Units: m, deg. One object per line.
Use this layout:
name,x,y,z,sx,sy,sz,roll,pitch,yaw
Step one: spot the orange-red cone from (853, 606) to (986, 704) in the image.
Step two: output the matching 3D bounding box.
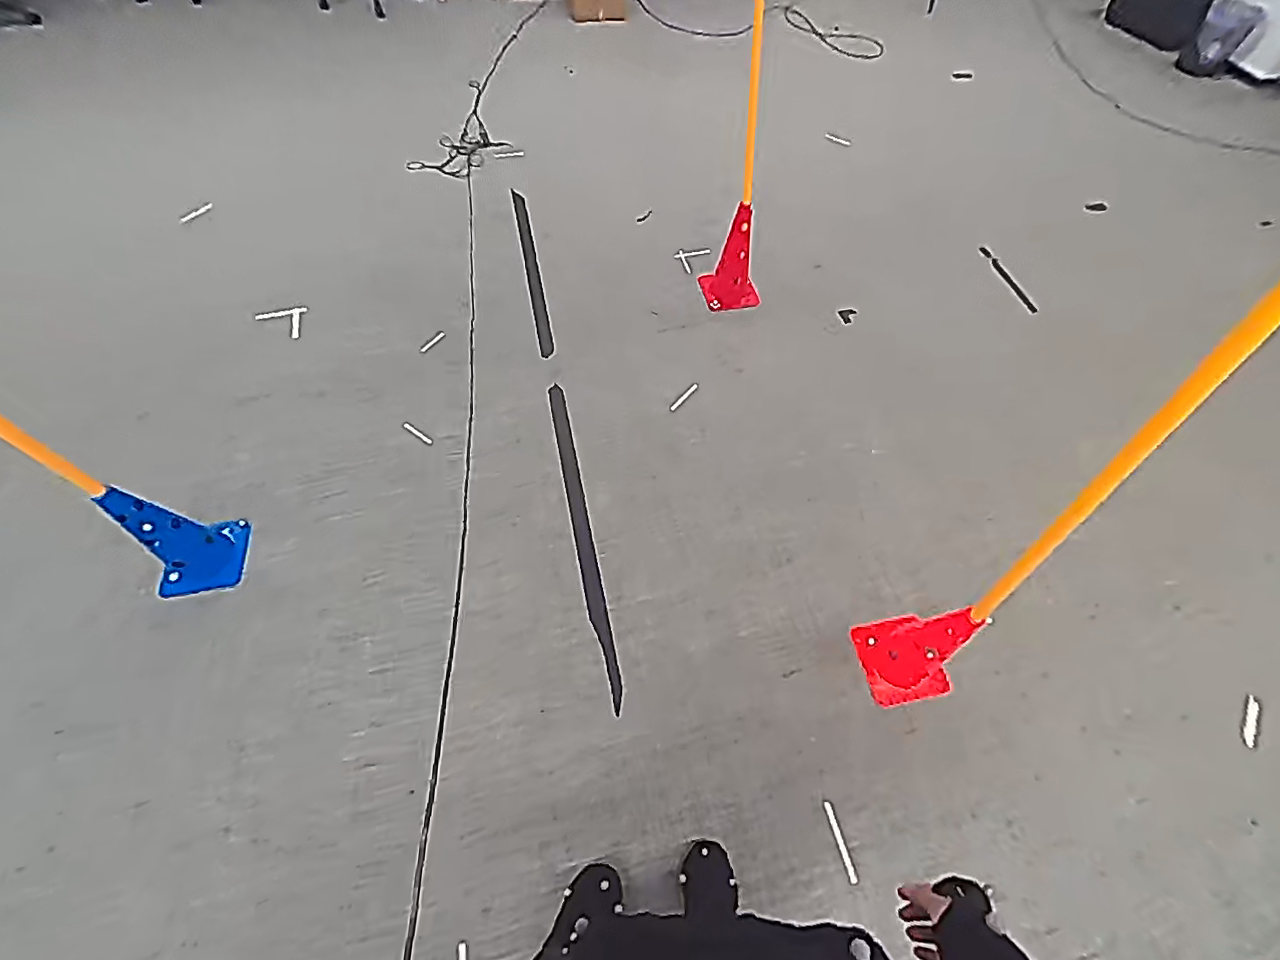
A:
orange-red cone,0.656,0.356,1.205,0.198,0.360,0.199,-8,60,-6

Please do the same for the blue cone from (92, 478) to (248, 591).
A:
blue cone,-1.171,0.116,1.325,0.193,0.380,0.192,-8,58,-7
